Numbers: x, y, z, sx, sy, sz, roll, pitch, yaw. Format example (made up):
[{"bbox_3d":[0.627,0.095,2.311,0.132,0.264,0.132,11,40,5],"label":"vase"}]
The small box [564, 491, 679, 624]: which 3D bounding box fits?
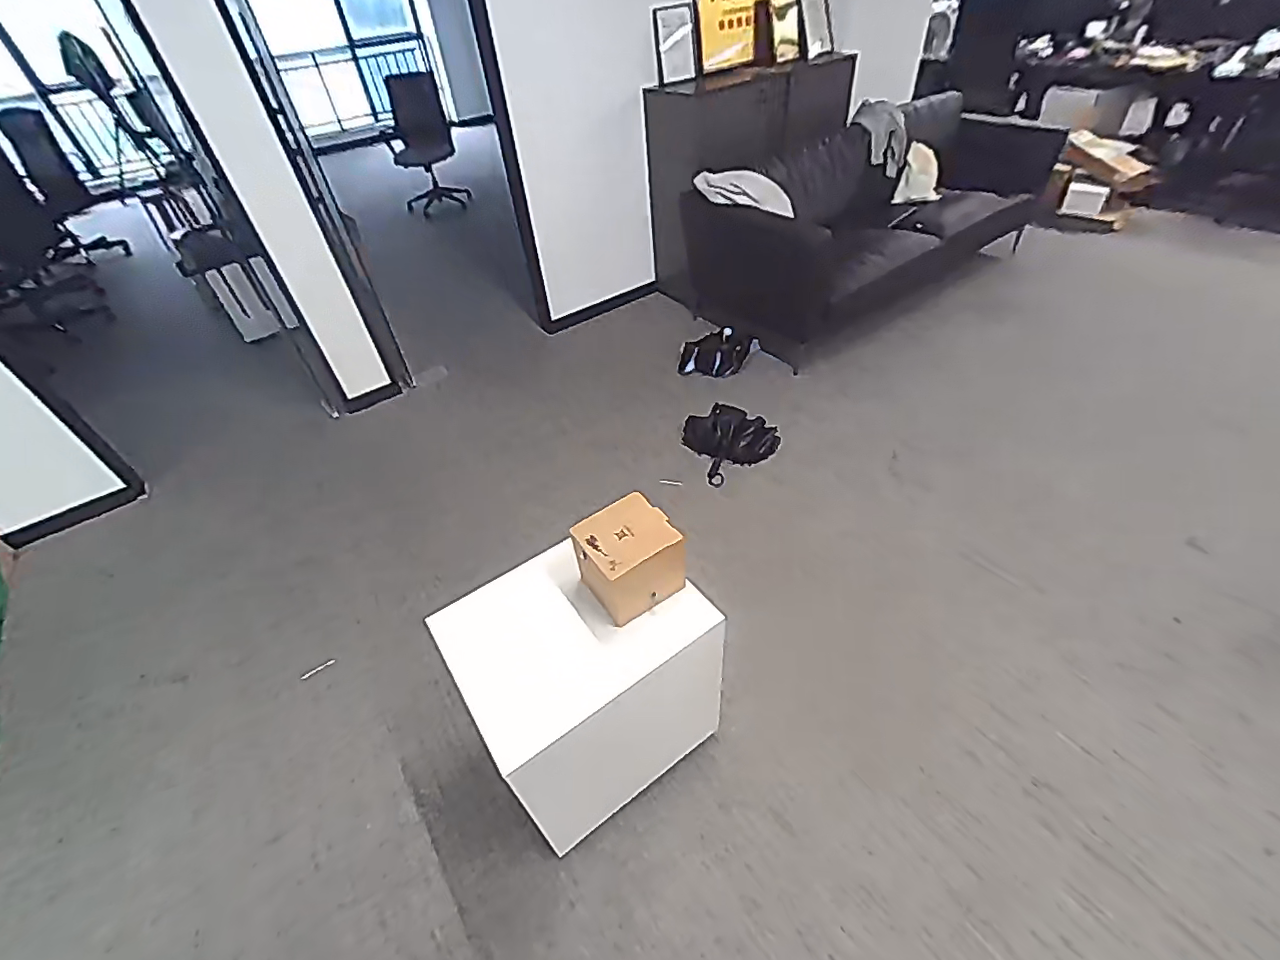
[{"bbox_3d":[-0.038,0.161,1.120,0.179,0.176,0.168,-27,48,-24],"label":"small box"}]
